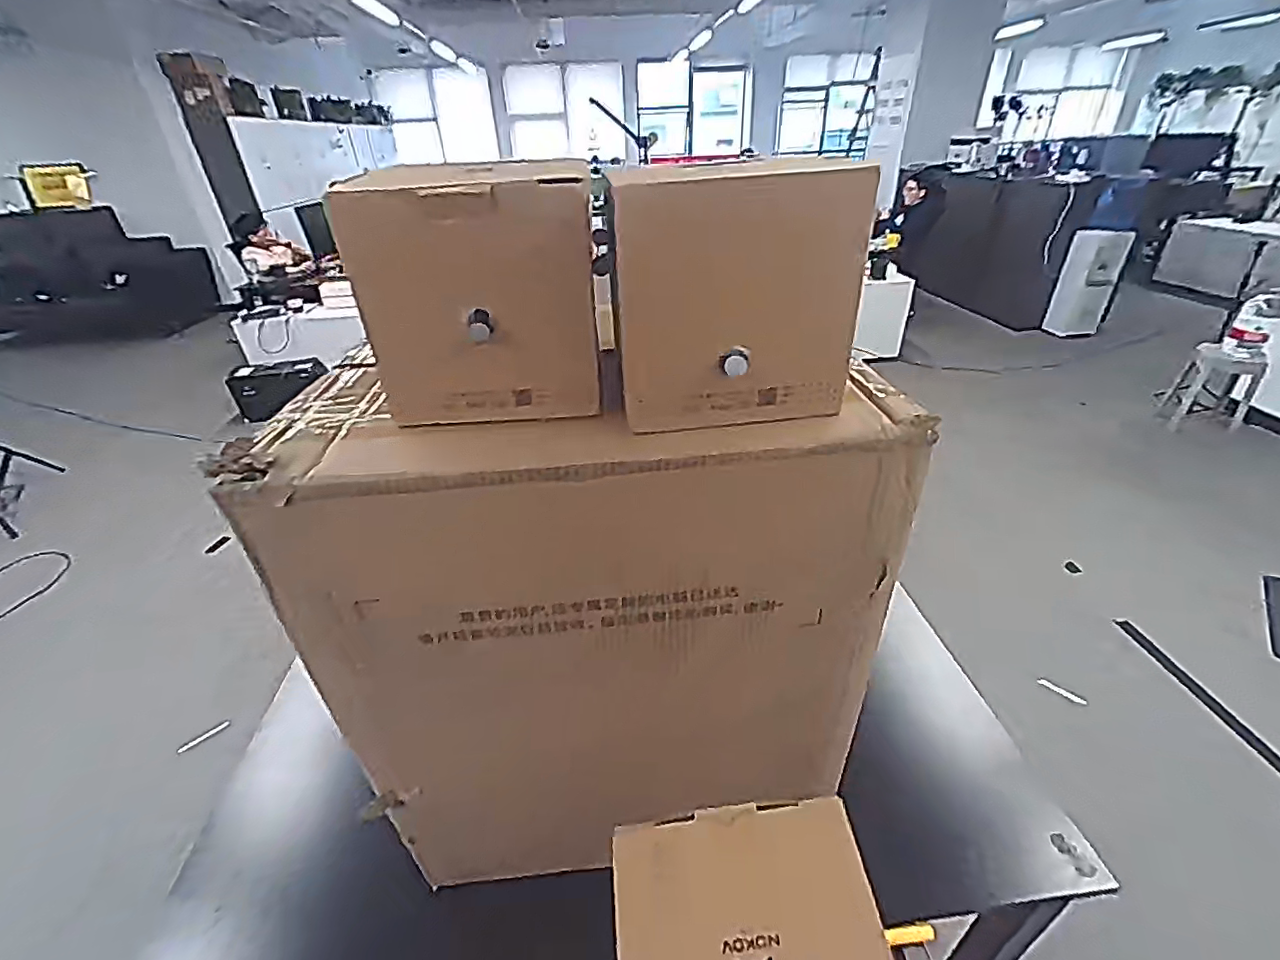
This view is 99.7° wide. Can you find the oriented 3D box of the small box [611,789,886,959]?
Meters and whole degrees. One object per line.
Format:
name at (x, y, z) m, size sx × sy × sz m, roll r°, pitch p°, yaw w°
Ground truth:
small box at (0.073, 0.350, 0.384) m, size 0.168 × 0.176 × 0.179 m, roll -8°, pitch 44°, yaw 0°
